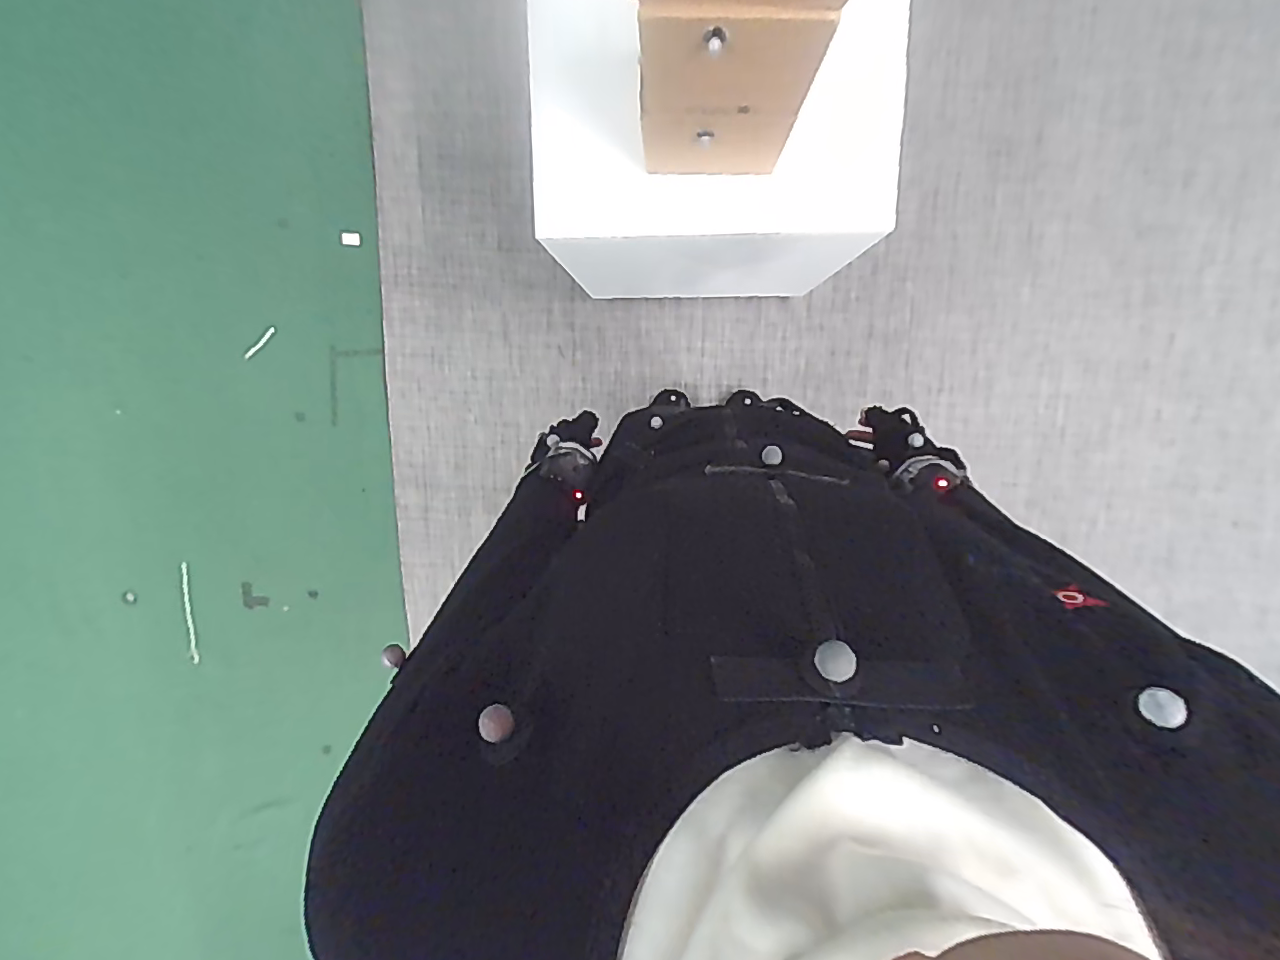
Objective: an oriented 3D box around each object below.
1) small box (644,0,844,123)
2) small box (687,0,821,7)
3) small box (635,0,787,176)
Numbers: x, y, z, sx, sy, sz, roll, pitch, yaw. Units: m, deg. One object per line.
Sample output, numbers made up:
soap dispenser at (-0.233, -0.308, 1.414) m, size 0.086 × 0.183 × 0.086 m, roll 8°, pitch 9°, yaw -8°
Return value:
small box at (0.088, -0.472, 0.507) m, size 0.168 × 0.176 × 0.179 m, roll 1°, pitch 100°, yaw 2°
small box at (0.075, -0.449, 0.344) m, size 0.179 × 0.176 × 0.168 m, roll 4°, pitch 102°, yaw 2°
small box at (0.090, -0.495, 0.667) m, size 0.179 × 0.176 × 0.168 m, roll 2°, pitch 99°, yaw 3°
